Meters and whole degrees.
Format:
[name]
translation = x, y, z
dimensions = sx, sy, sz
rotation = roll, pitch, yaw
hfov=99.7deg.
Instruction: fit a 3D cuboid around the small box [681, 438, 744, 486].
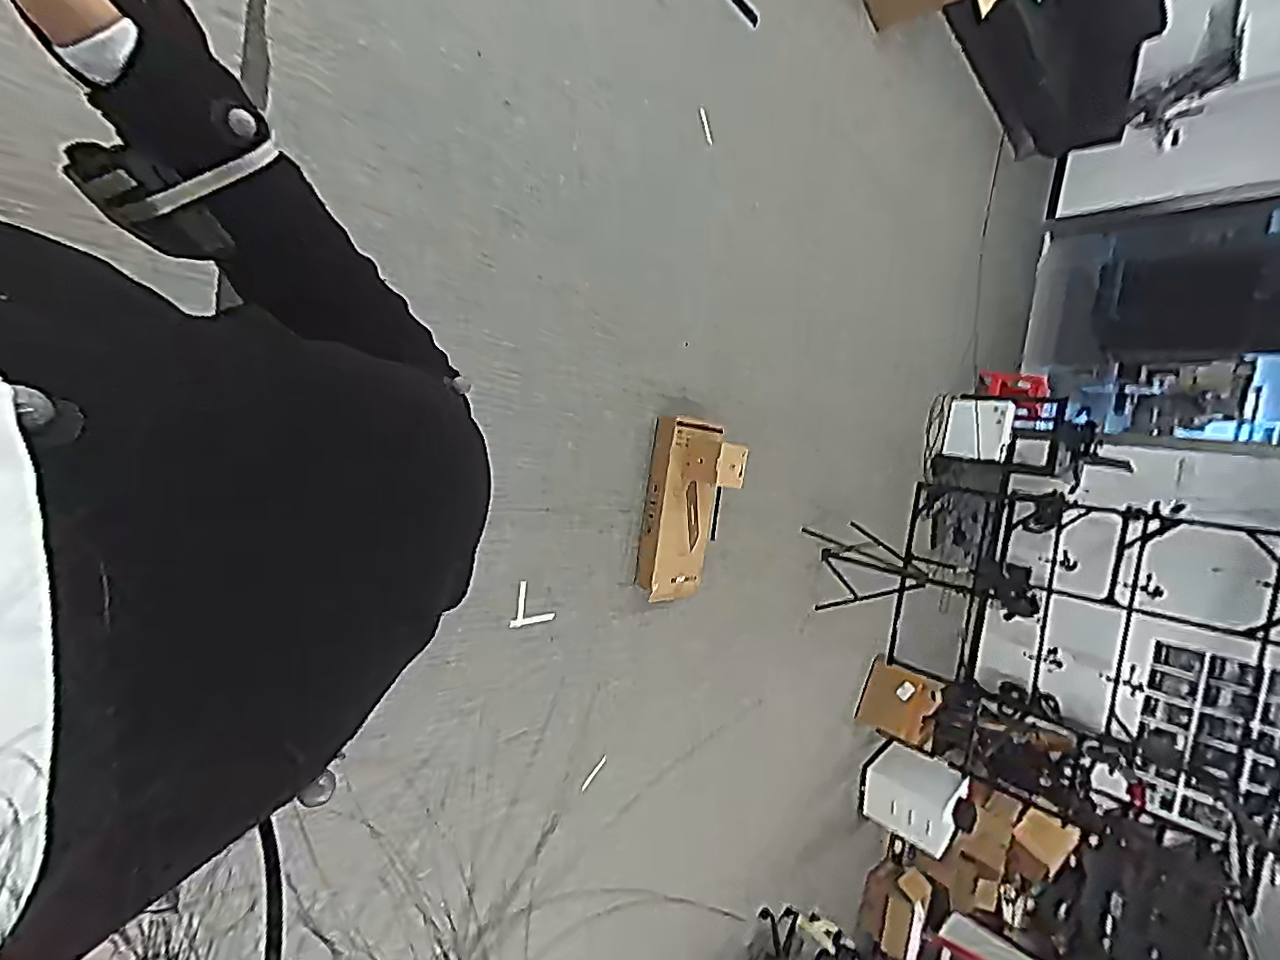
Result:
[small box]
translation = 0.284, -0.073, 2.137
dimensions = 0.179, 0.176, 0.168
rotation = 6, 94, -44
